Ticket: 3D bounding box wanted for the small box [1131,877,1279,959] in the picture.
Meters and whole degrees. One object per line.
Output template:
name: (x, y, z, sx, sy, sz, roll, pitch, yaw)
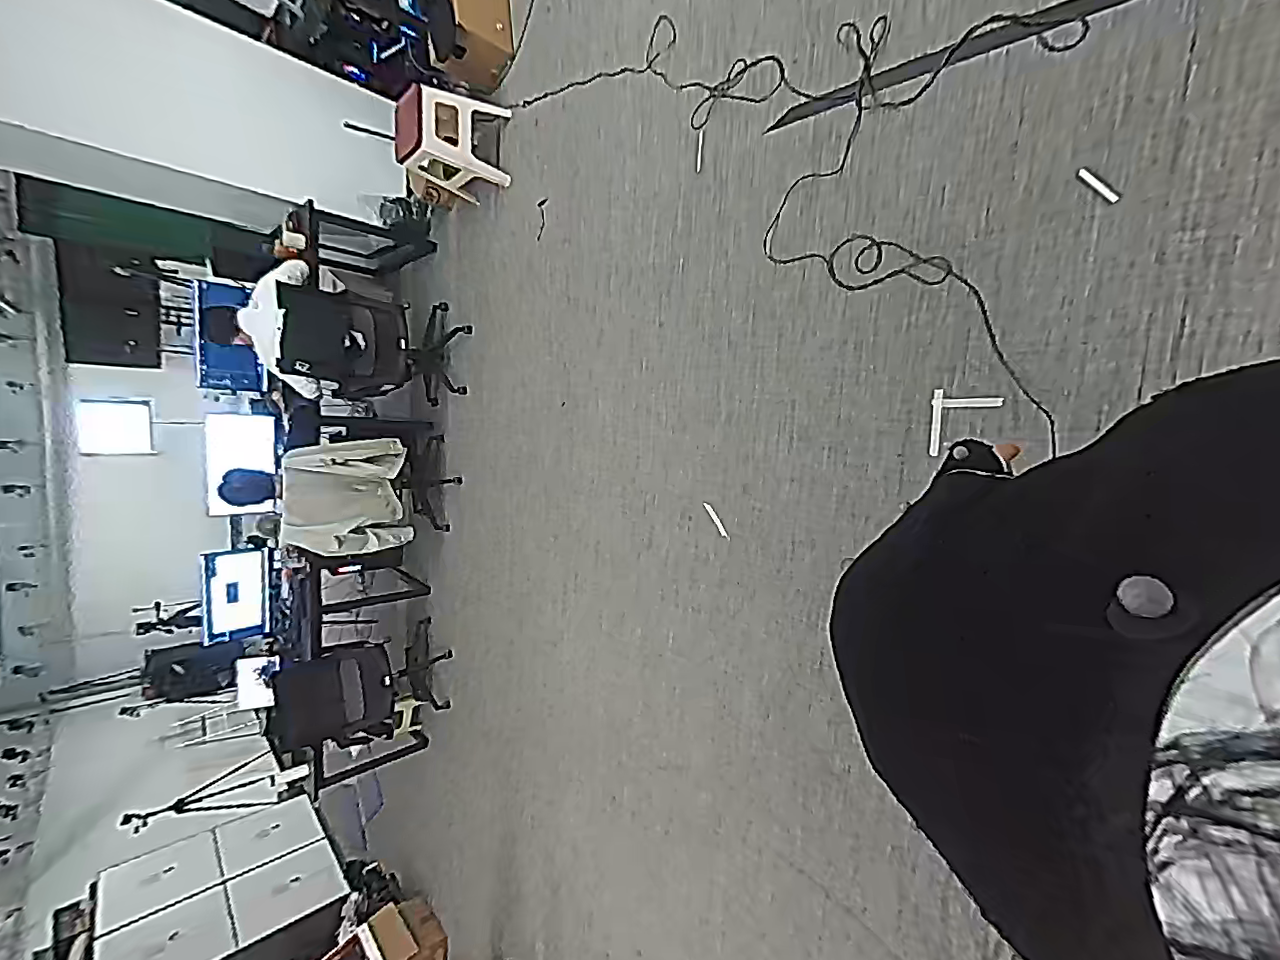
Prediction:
small box: (0.733, 0.664, 0.678, 0.168, 0.176, 0.179, 11, 99, 44)
